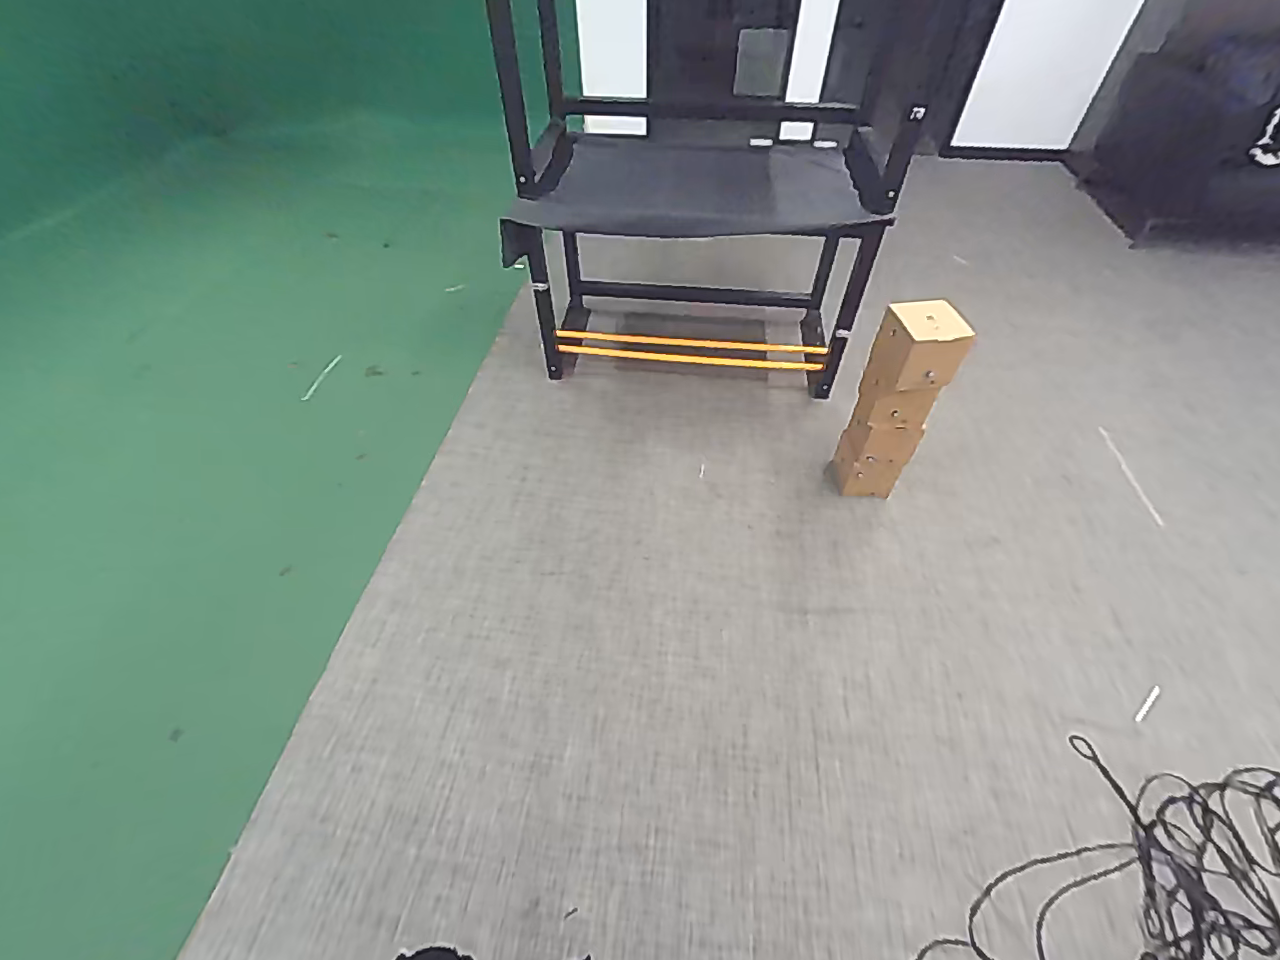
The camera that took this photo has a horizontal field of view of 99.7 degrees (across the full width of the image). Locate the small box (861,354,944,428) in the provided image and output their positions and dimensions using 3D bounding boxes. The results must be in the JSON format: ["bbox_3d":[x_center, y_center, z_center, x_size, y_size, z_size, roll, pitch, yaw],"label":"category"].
[{"bbox_3d":[0.780,-0.280,1.627,0.168,0.176,0.179,4,50,5],"label":"small box"}]

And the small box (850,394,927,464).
[{"bbox_3d":[0.794,-0.168,1.744,0.168,0.176,0.179,3,48,3],"label":"small box"}]

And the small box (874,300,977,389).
[{"bbox_3d":[0.775,-0.373,1.491,0.168,0.176,0.179,-6,50,-3],"label":"small box"}]
